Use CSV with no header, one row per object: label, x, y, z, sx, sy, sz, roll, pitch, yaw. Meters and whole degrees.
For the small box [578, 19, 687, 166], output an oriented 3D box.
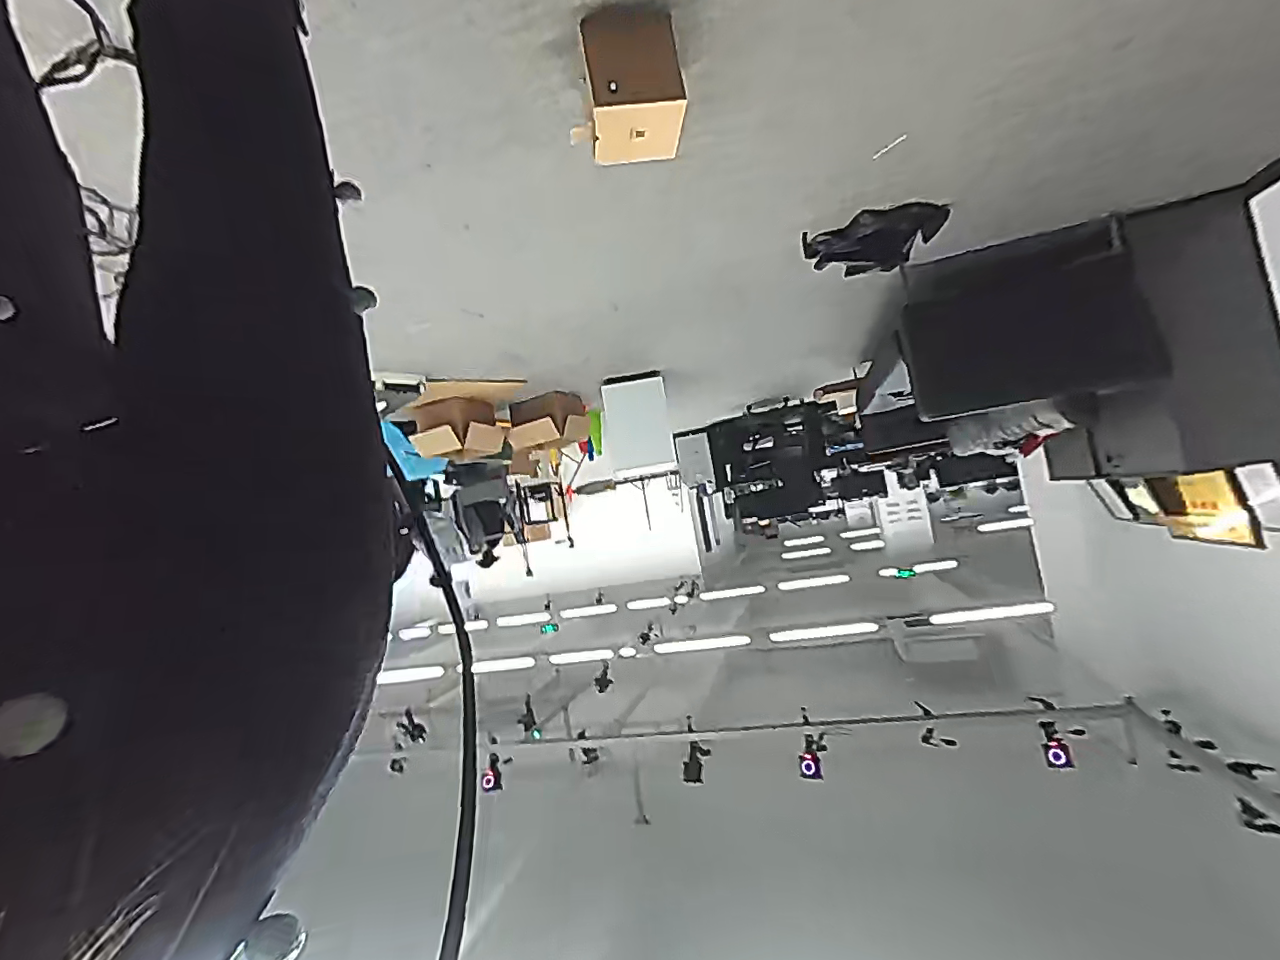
small box,-0.021,-0.752,1.056,0.179,0.176,0.168,-9,177,-6
